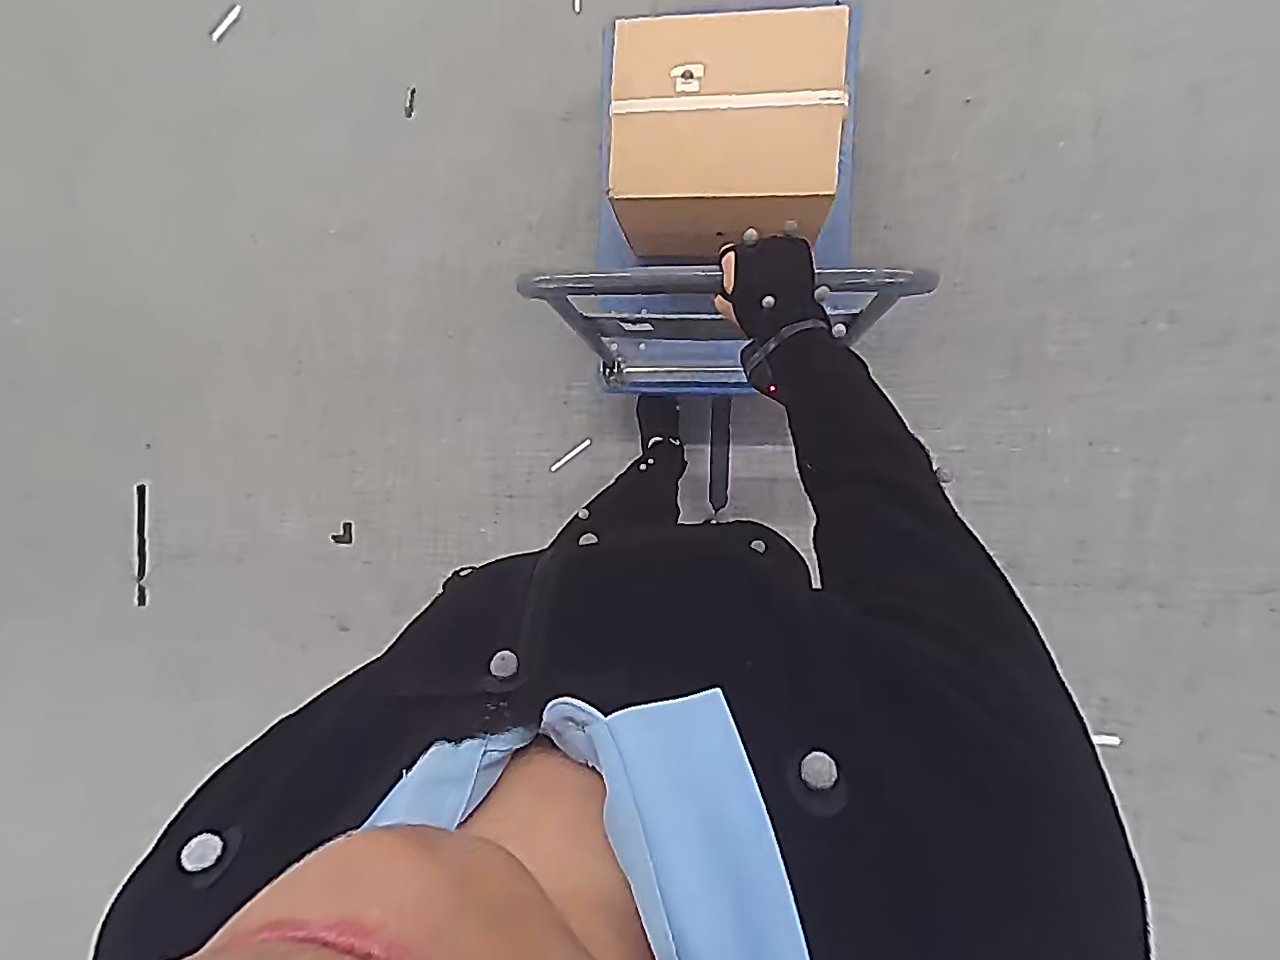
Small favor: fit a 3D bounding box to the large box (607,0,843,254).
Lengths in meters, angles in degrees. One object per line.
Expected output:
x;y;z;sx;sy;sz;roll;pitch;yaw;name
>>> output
0.167;-0.663;1.085;0.408;0.320;0.320;3;93;10;large box
